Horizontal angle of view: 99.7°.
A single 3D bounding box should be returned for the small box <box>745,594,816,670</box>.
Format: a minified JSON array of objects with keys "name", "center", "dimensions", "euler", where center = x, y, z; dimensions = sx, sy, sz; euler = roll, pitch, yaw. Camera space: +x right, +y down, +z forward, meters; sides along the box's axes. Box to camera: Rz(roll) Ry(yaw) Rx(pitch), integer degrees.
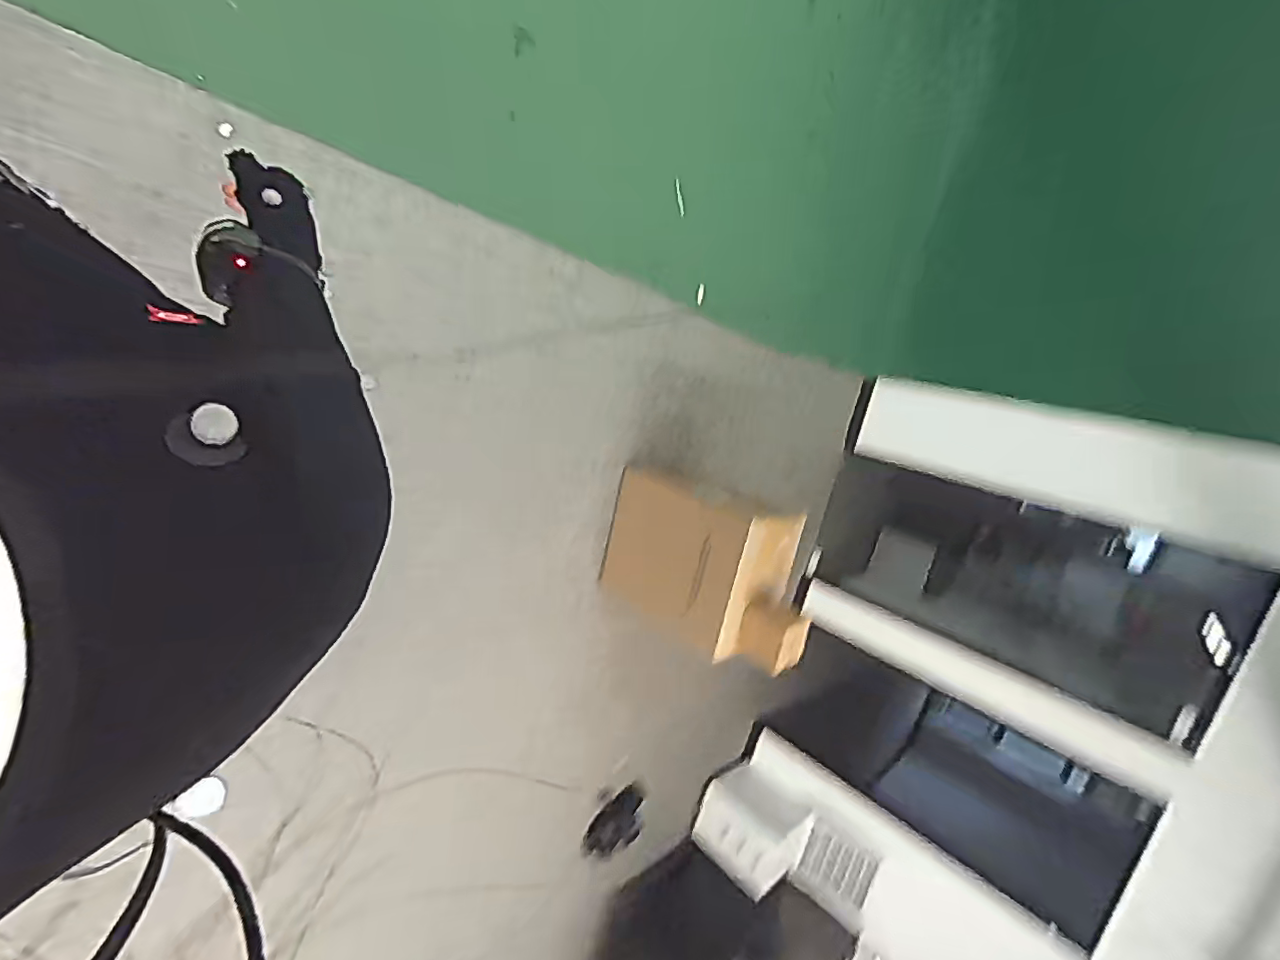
[{"name":"small box","center":[0.495,0.534,1.922],"dimensions":[0.168,0.176,0.179],"euler":[-9,113,-41]}]
